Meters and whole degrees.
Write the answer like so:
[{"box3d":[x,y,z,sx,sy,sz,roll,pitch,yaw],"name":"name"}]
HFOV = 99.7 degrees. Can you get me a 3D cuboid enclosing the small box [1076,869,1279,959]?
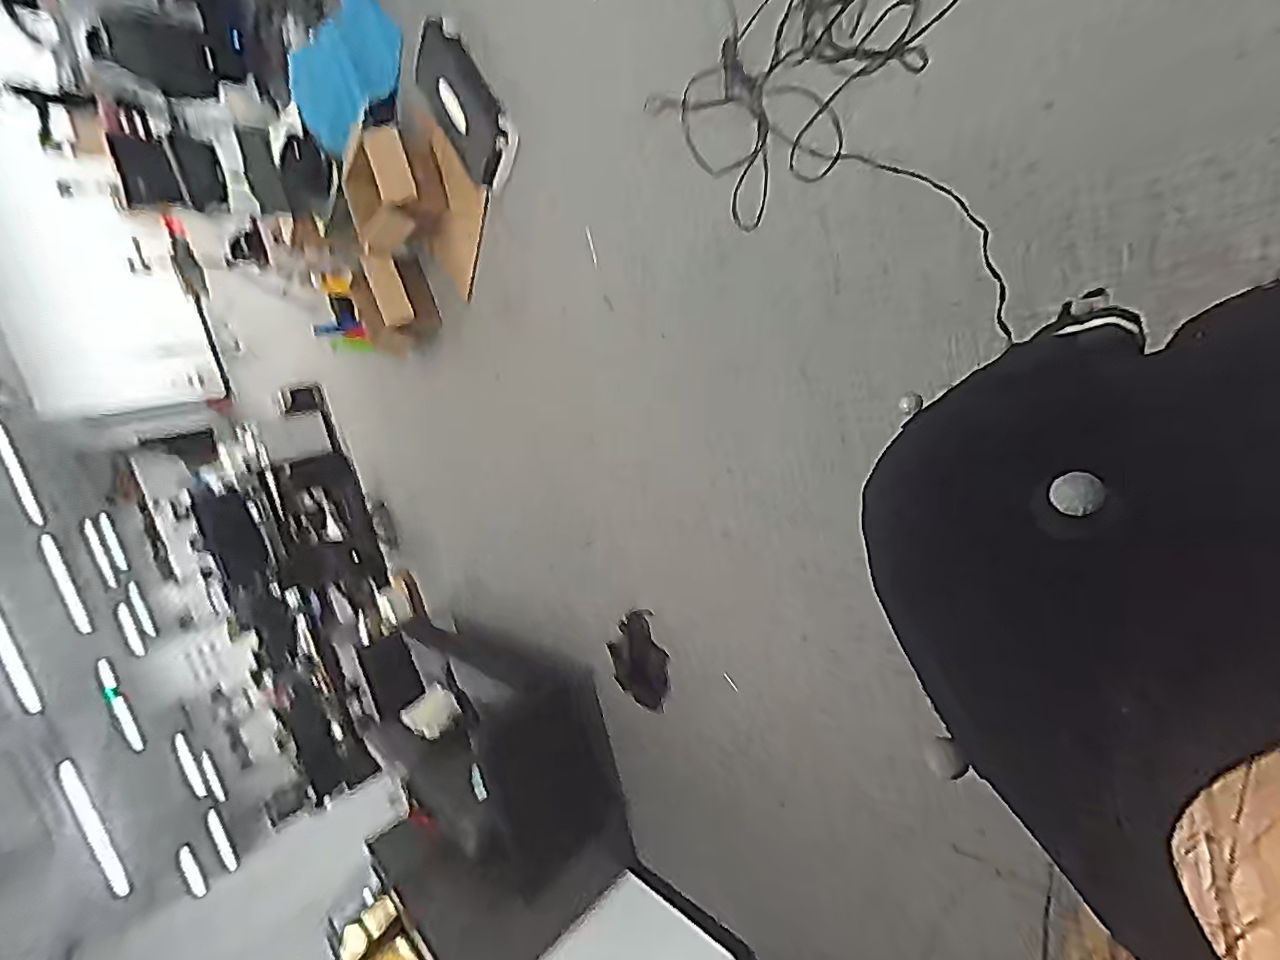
[{"box3d":[0.651,0.628,0.650,0.168,0.176,0.179,-6,103,50],"name":"small box"}]
